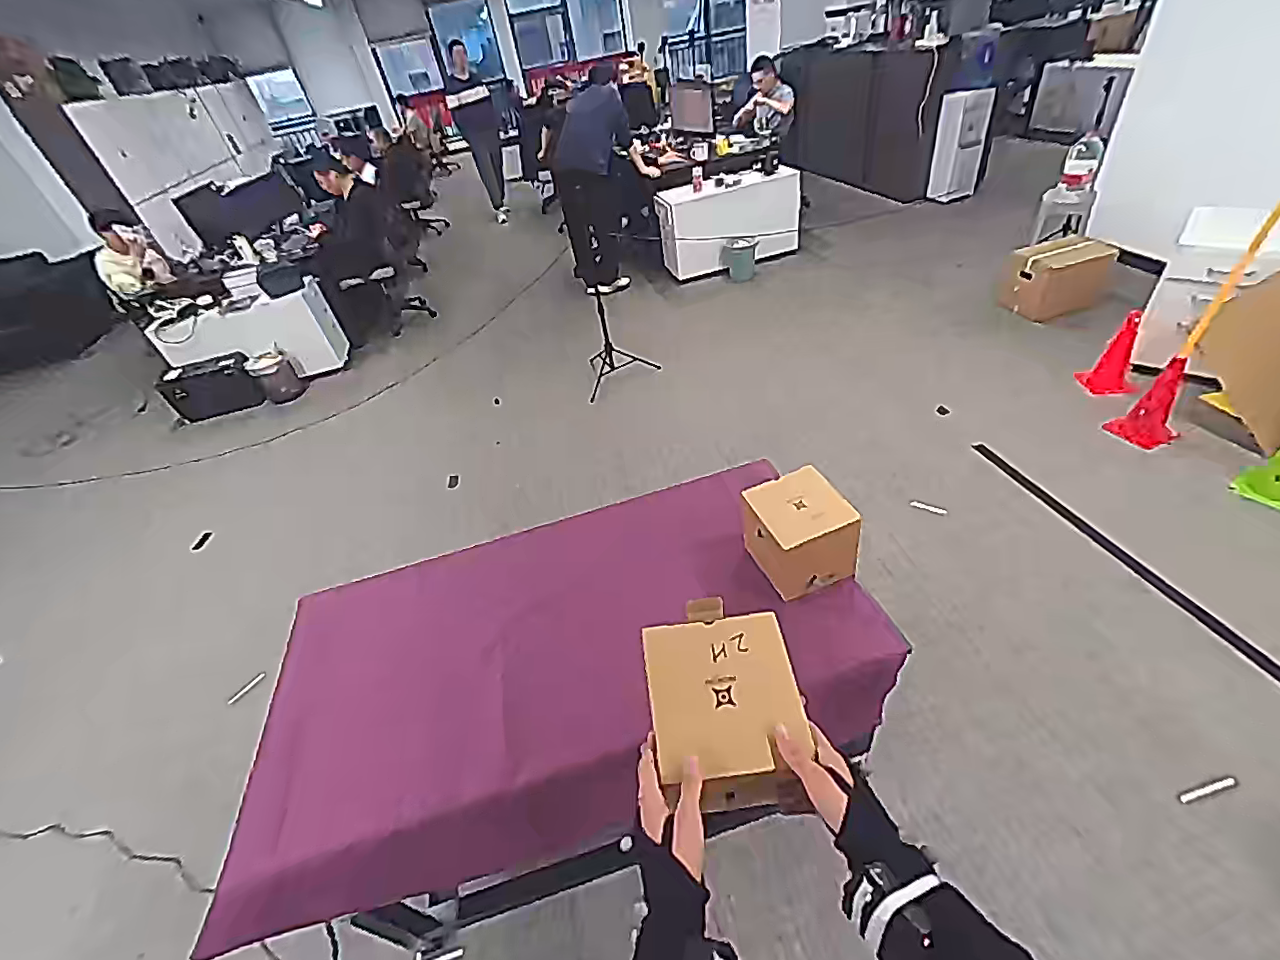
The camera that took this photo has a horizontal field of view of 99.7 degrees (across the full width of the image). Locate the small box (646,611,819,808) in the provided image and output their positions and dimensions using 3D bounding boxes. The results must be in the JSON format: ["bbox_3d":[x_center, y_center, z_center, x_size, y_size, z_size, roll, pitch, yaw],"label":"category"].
[{"bbox_3d":[0.100,0.285,0.661,0.168,0.176,0.179,-6,48,-2],"label":"small box"}]

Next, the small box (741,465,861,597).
[{"bbox_3d":[0.321,0.104,1.104,0.168,0.176,0.179,-21,41,-7],"label":"small box"}]
